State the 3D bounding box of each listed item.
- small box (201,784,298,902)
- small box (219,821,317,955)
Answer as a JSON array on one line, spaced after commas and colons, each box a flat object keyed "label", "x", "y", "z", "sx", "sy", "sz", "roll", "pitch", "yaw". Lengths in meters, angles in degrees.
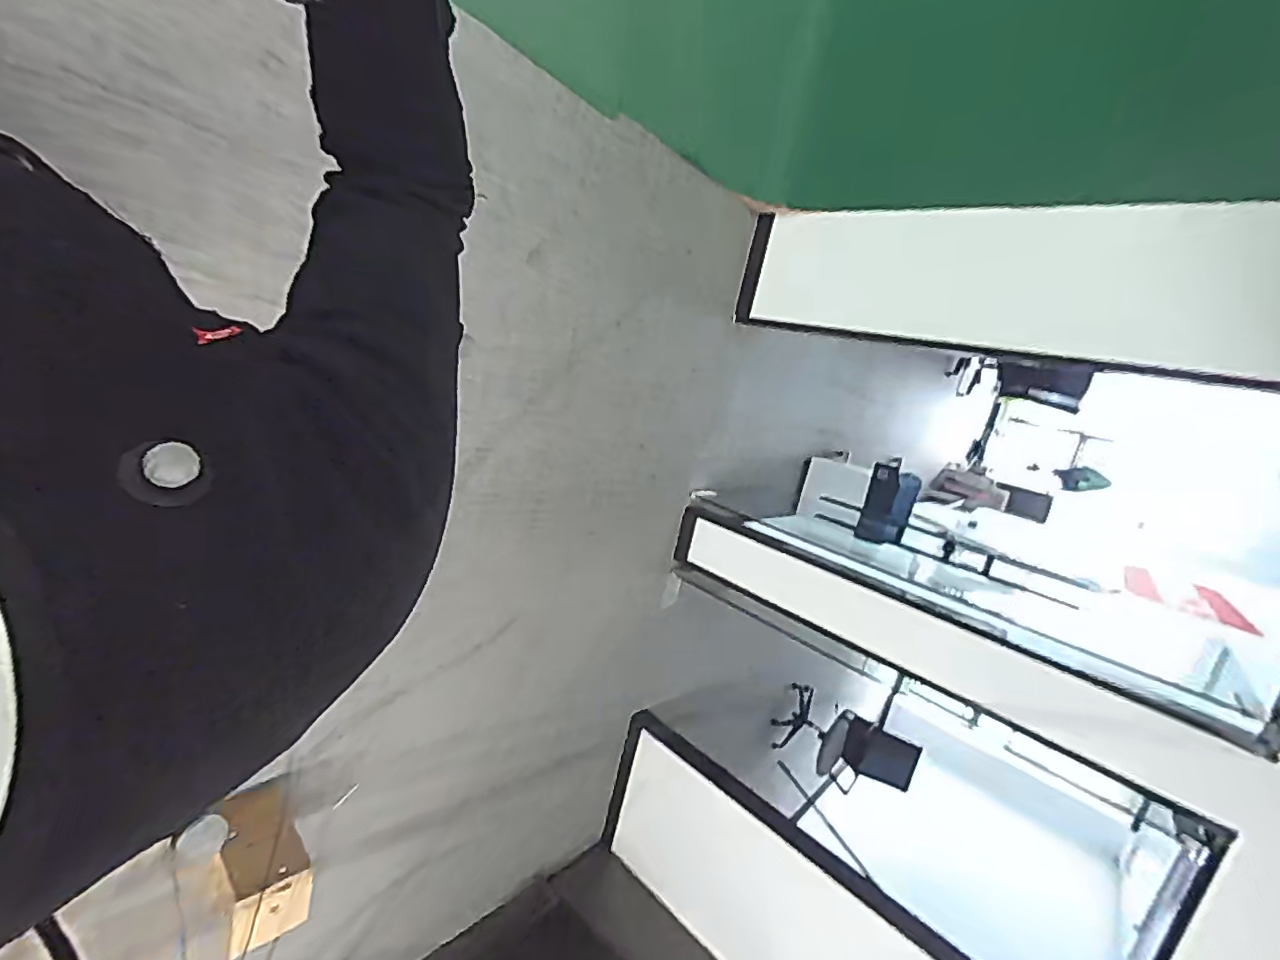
[{"label": "small box", "x": -1.068, "y": 0.979, "z": 1.479, "sx": 0.179, "sy": 0.176, "sz": 0.168, "roll": 1, "pitch": 106, "yaw": -49}, {"label": "small box", "x": -0.949, "y": 1.025, "z": 1.376, "sx": 0.168, "sy": 0.176, "sz": 0.179, "roll": 0, "pitch": 108, "yaw": -49}]
